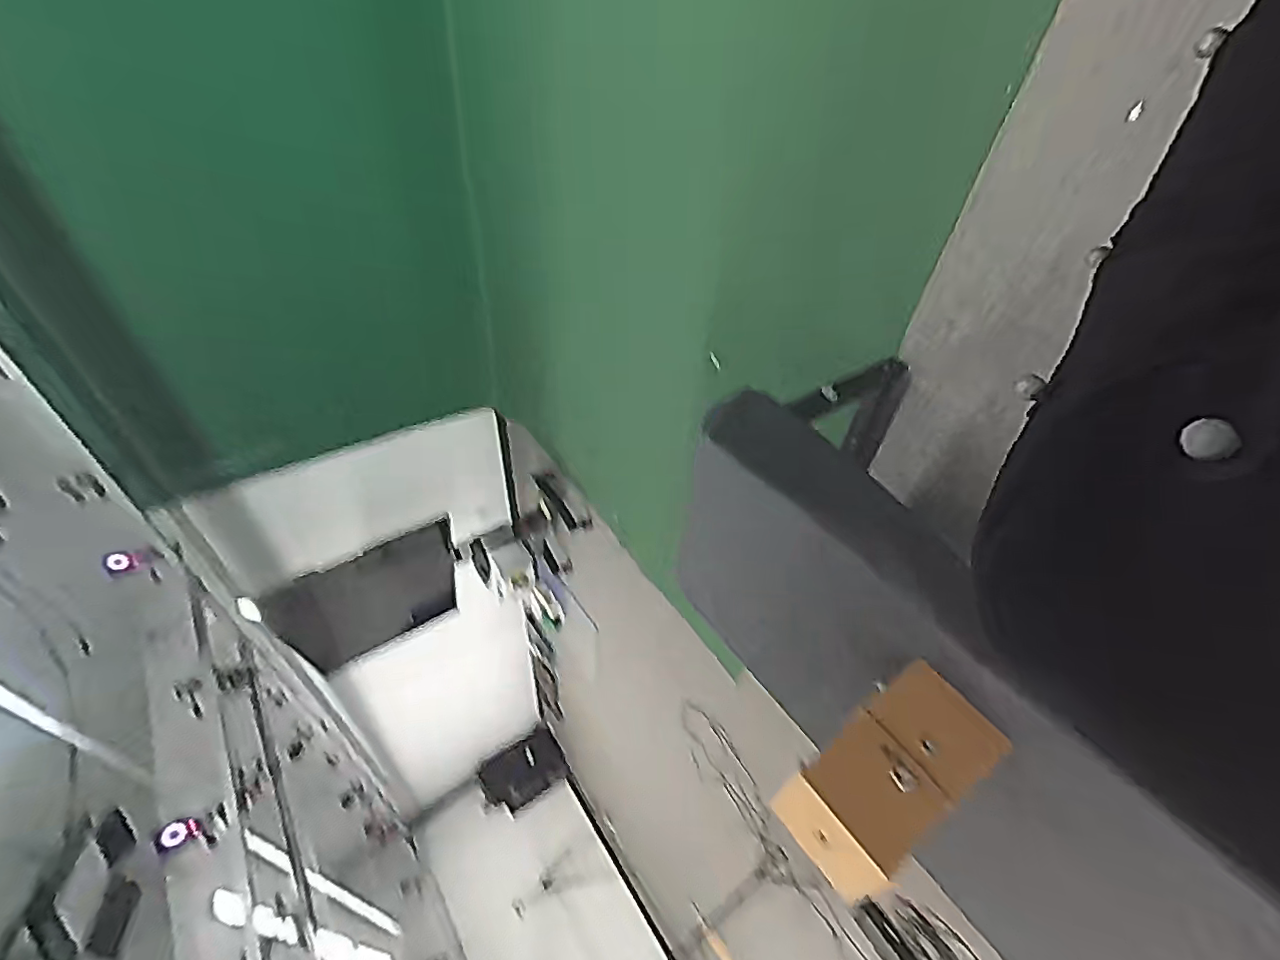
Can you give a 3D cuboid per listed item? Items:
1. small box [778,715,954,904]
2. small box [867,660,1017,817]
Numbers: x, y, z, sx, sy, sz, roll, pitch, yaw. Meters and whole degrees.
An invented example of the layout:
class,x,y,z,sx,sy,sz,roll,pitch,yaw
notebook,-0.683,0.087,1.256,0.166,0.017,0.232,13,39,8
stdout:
class,x,y,z,sx,sy,sz,roll,pitch,yaw
small box,0.353,0.514,0.854,0.168,0.176,0.179,44,145,34
small box,0.498,0.450,0.935,0.179,0.176,0.168,47,147,34
